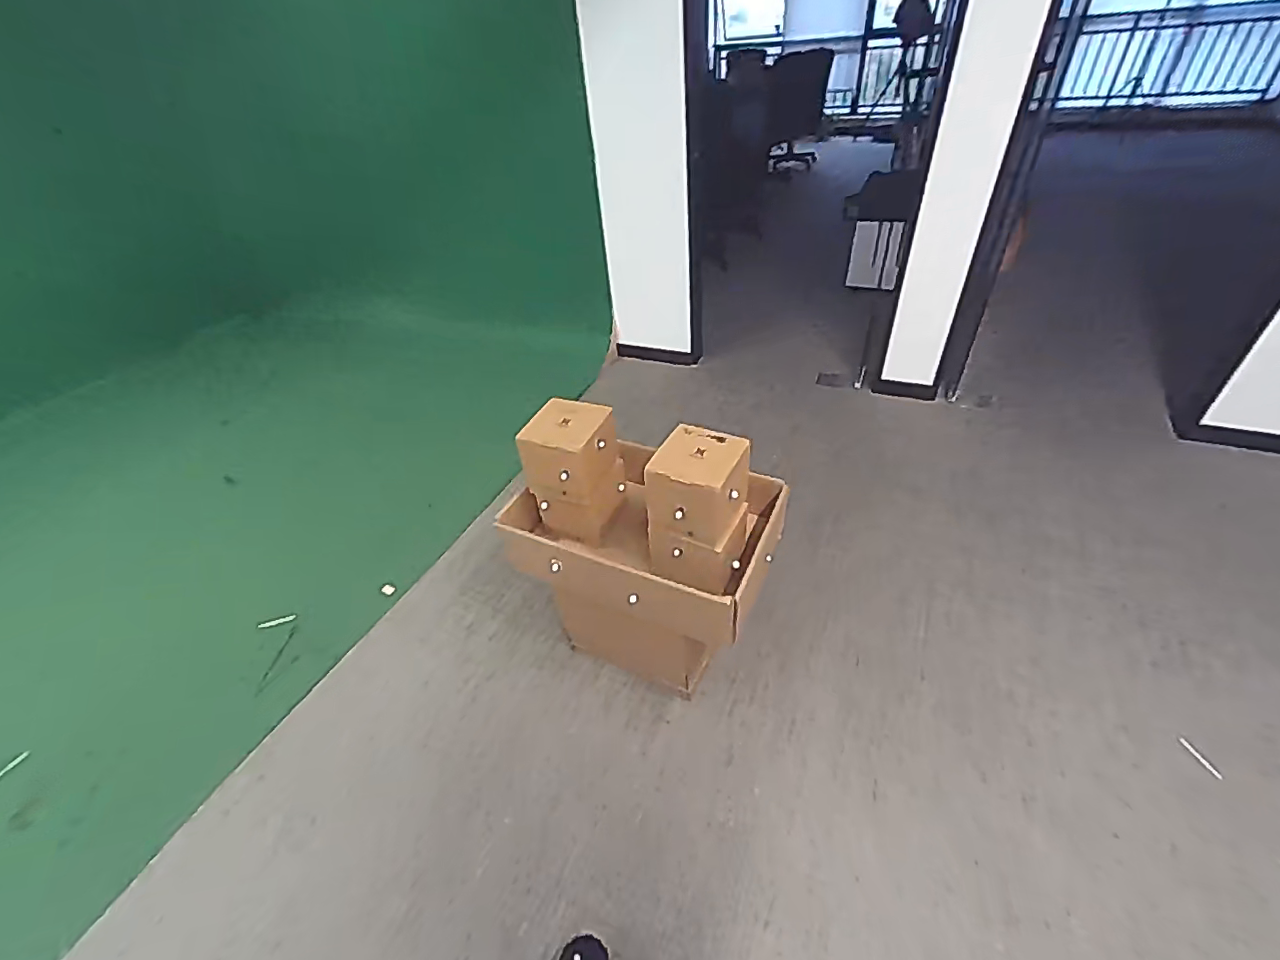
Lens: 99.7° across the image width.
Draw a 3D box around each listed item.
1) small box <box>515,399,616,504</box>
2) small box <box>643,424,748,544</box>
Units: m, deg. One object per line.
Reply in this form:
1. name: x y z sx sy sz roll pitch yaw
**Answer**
1. small box: -0.166 -0.067 1.283 0.168 0.176 0.179 12 44 19
2. small box: 0.124 0.009 1.156 0.168 0.176 0.179 17 47 24
